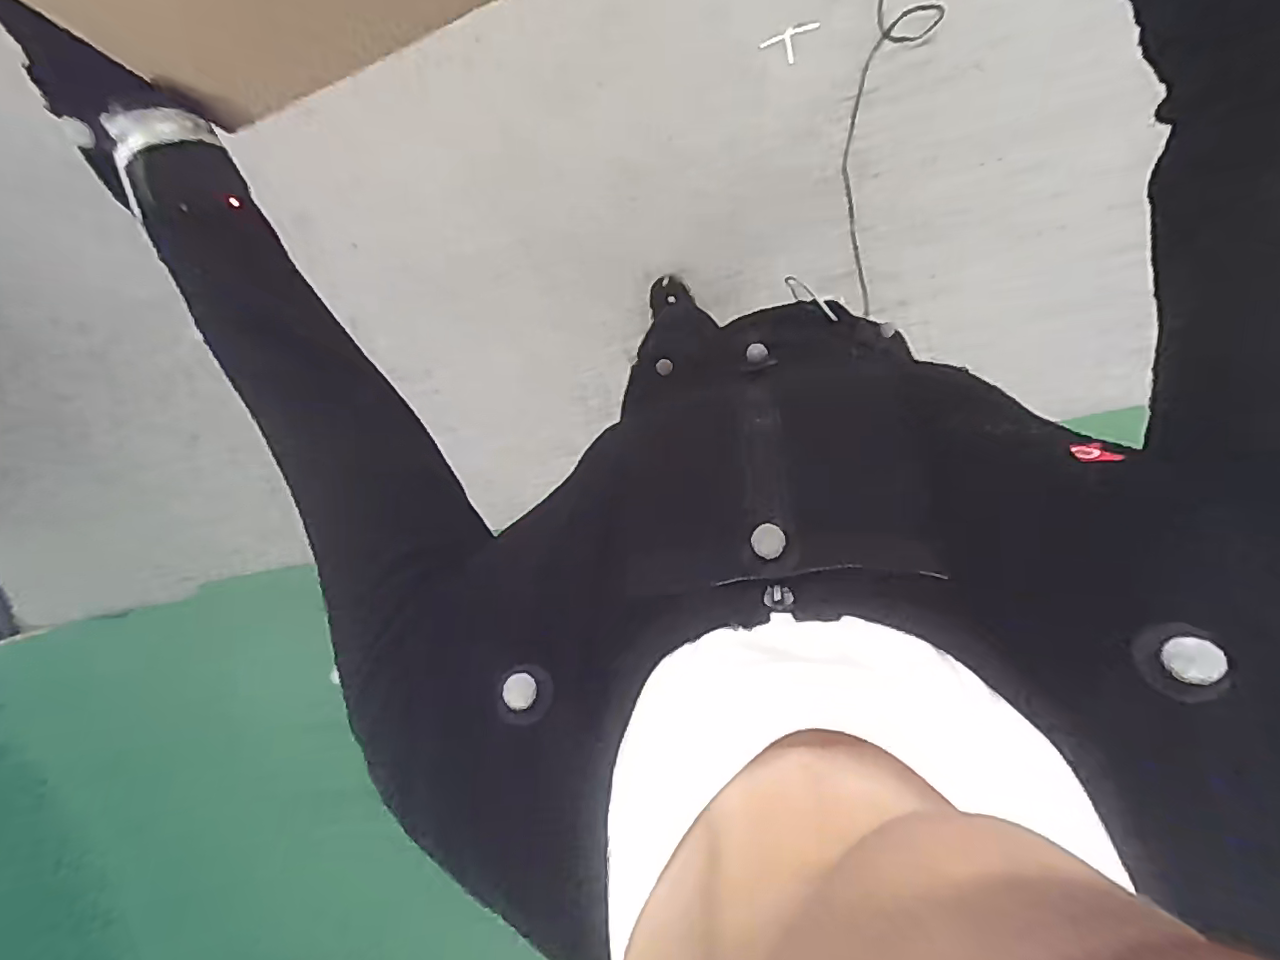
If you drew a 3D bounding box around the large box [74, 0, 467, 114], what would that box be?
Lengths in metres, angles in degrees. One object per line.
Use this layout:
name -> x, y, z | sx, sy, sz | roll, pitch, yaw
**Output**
large box -> -0.162, -0.431, 0.194 | 0.408, 0.320, 0.320 | 0, 82, 25
